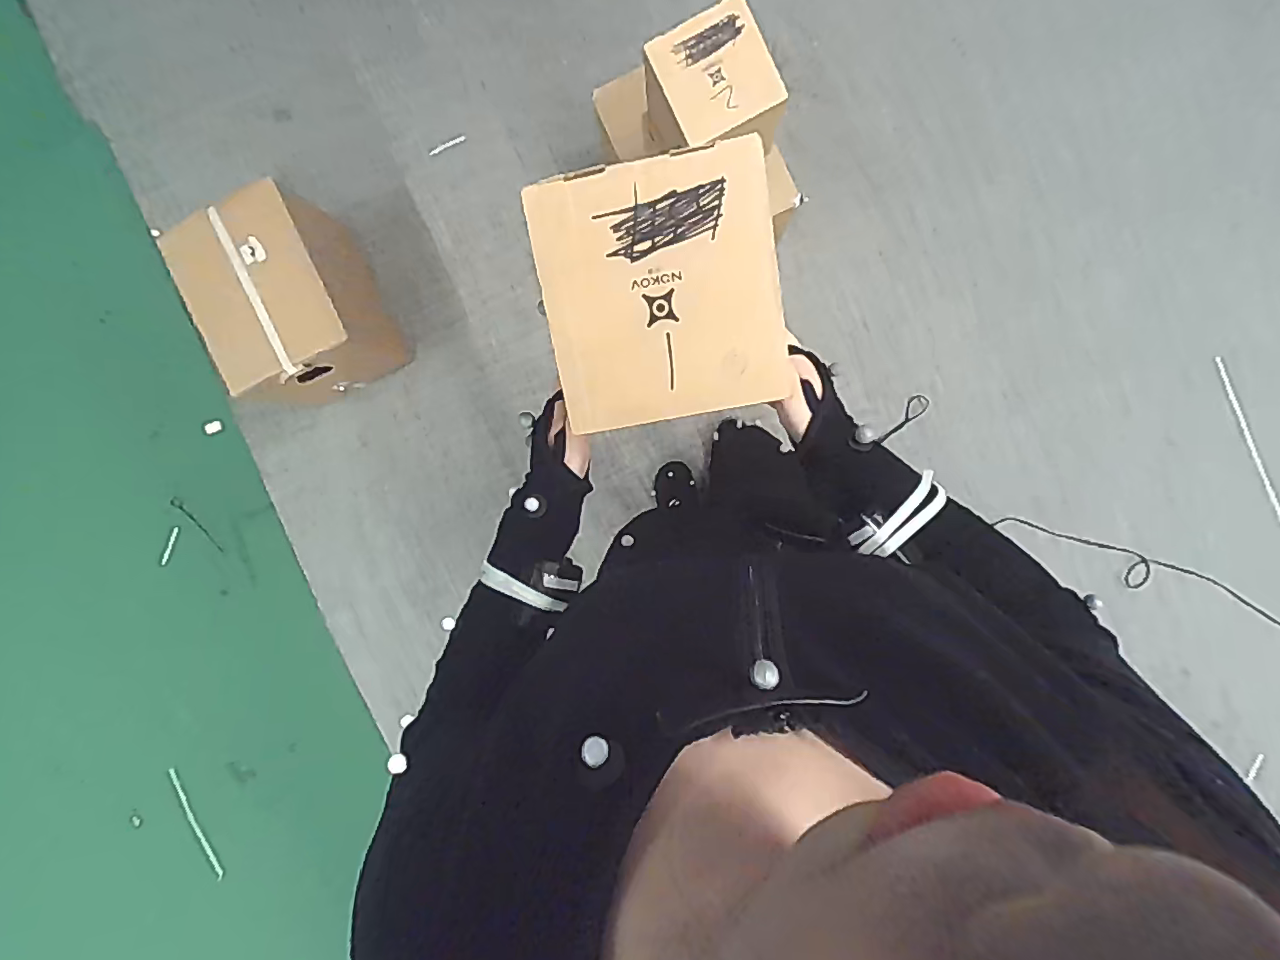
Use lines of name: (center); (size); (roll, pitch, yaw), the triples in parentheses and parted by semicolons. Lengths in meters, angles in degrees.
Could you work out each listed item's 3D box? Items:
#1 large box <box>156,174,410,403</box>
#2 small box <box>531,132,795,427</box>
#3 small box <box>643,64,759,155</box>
large box: (-0.863, -0.446, 1.361); (0.320, 0.320, 0.408); (-25, 91, 4)
small box: (0.023, -0.151, 0.456); (0.168, 0.176, 0.179); (-9, 103, 6)
small box: (0.119, -0.644, 1.058); (0.179, 0.176, 0.168); (-26, 93, 6)
